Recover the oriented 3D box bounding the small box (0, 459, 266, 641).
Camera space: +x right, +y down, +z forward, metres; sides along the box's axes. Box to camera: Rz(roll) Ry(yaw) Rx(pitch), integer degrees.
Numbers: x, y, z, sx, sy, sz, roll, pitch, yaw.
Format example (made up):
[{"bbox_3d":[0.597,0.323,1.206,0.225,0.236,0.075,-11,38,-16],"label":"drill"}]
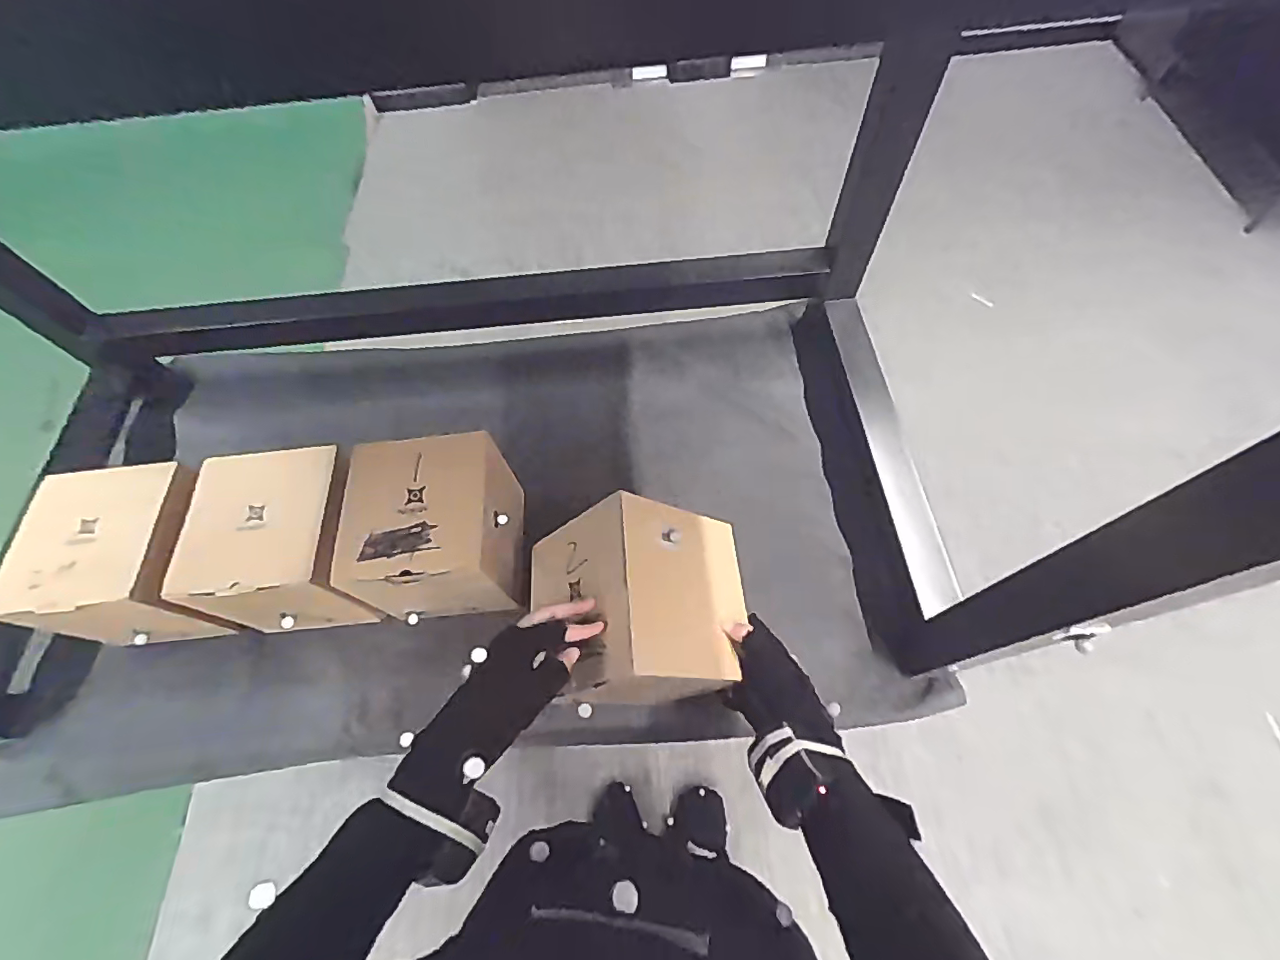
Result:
[{"bbox_3d":[-0.622,0.094,0.688,0.168,0.176,0.179,-6,62,1],"label":"small box"}]
